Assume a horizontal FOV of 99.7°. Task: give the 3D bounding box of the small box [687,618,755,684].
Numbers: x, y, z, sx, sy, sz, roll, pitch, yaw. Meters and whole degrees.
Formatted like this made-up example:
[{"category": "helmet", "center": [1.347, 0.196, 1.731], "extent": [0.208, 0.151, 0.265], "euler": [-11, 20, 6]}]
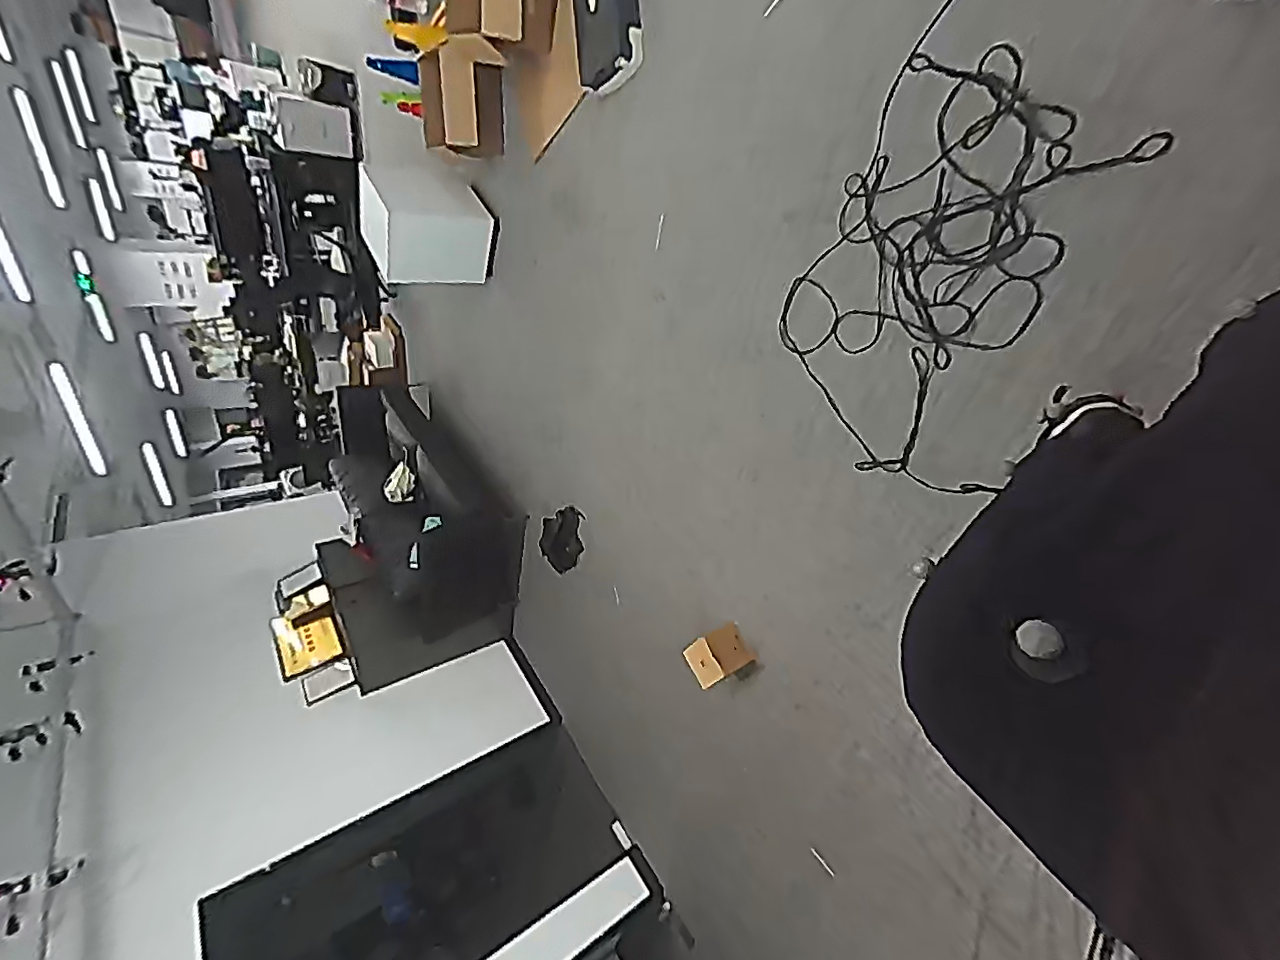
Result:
[{"category": "small box", "center": [0.318, 0.667, 2.115], "extent": [0.168, 0.176, 0.179], "euler": [59, 142, 24]}]
